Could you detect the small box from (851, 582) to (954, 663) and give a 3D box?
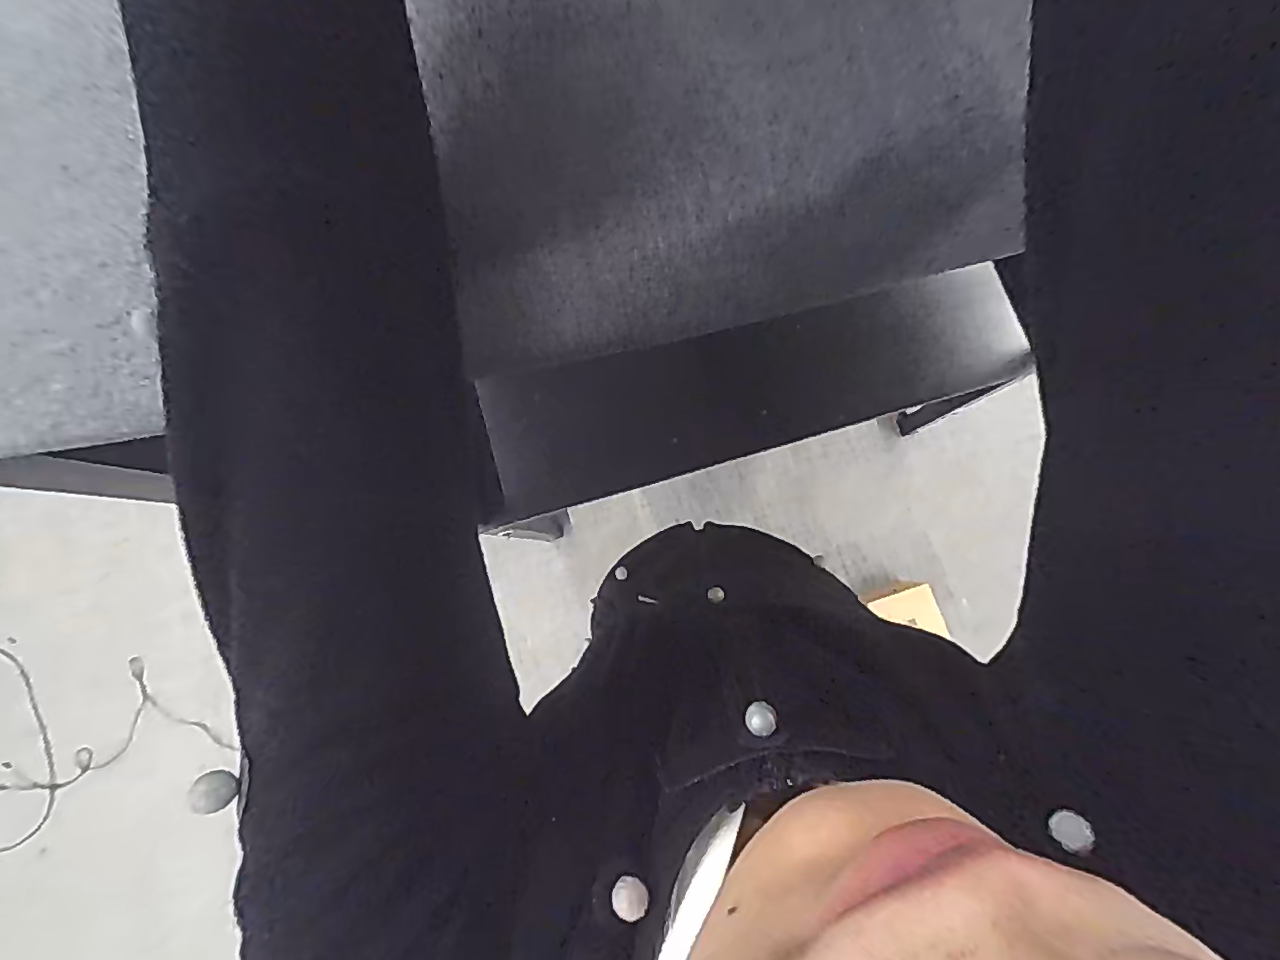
[{"bbox_3d":[0.719,0.387,1.502,0.179,0.176,0.168,-19,81,1],"label":"small box"}]
